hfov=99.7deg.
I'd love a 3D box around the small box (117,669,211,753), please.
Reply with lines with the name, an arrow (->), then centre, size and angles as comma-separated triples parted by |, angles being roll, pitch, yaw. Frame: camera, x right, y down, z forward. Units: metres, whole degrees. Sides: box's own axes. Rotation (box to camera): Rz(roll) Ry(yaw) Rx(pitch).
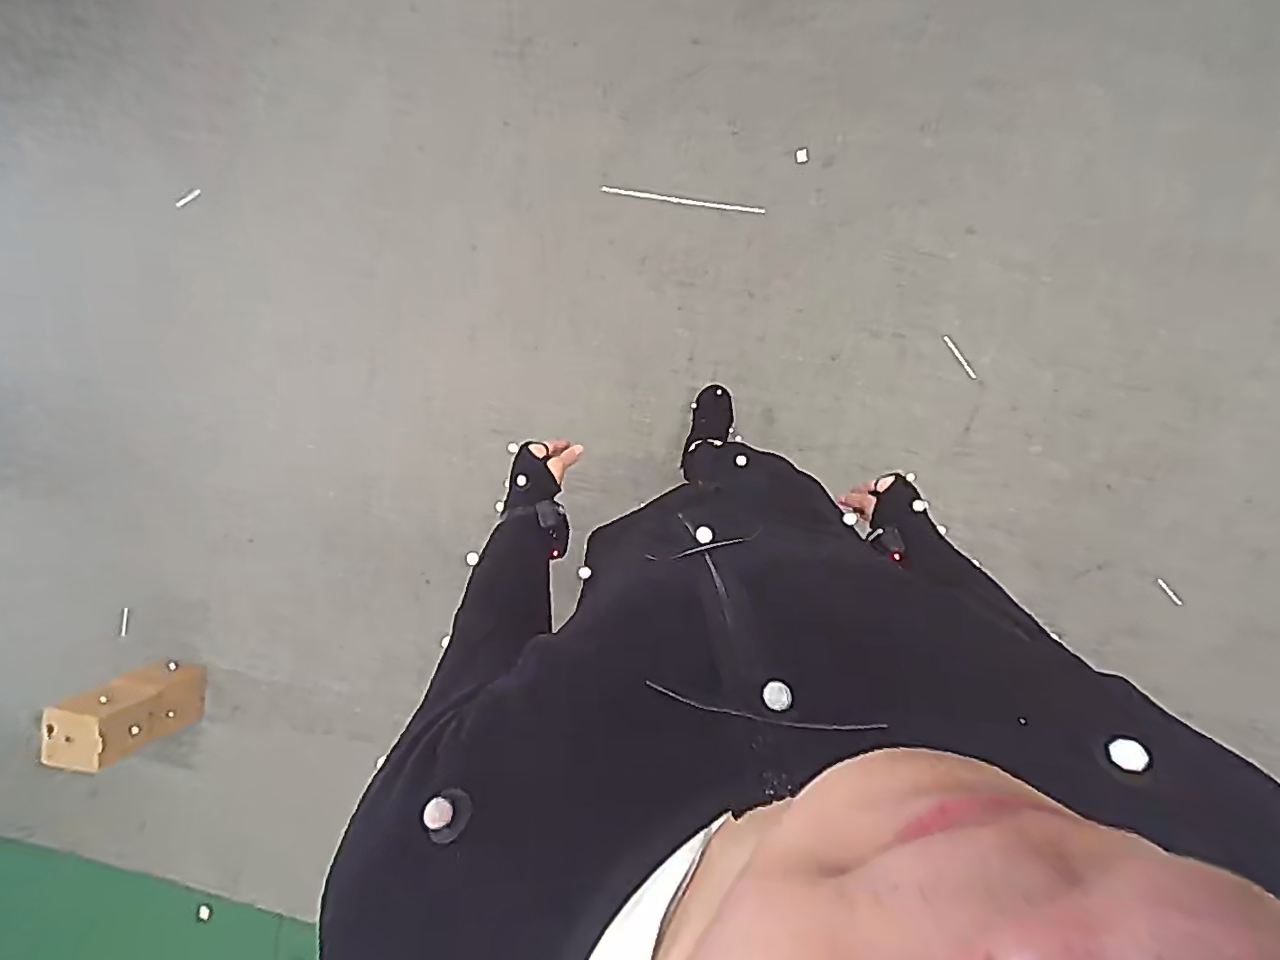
small box -> -1.526, 0.734, 1.732 | 0.168, 0.176, 0.179 | 10, 93, 5

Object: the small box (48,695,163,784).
small box -> -1.543, 0.745, 1.569 | 0.179, 0.176, 0.168 | 7, 93, 5
